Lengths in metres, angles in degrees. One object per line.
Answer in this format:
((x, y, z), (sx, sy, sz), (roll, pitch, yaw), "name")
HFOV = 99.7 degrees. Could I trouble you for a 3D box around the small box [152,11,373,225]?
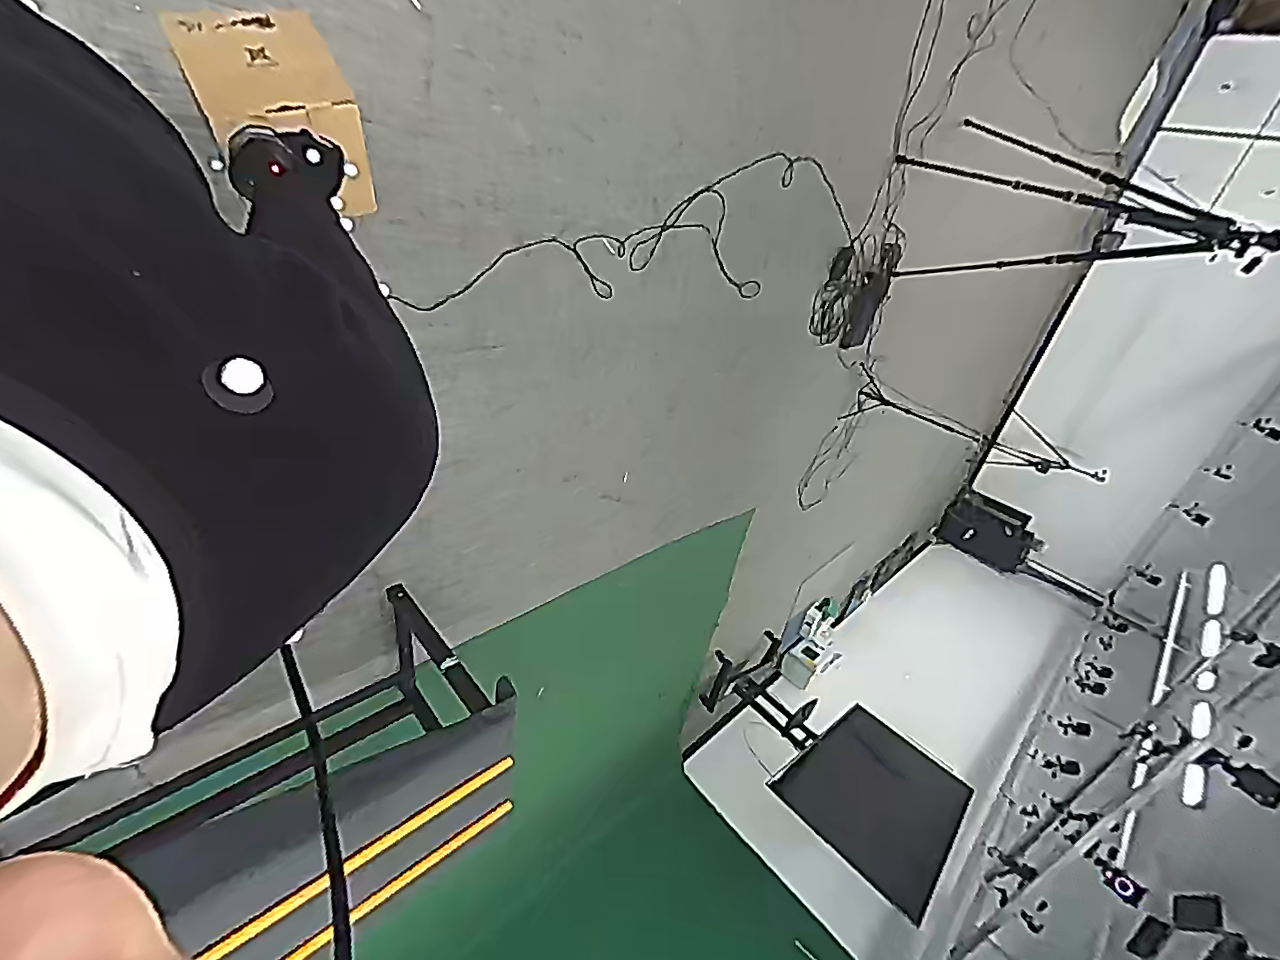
((-0.486, -0.473, 0.726), (0.168, 0.179, 0.176), (-28, 168, -23), "small box")
